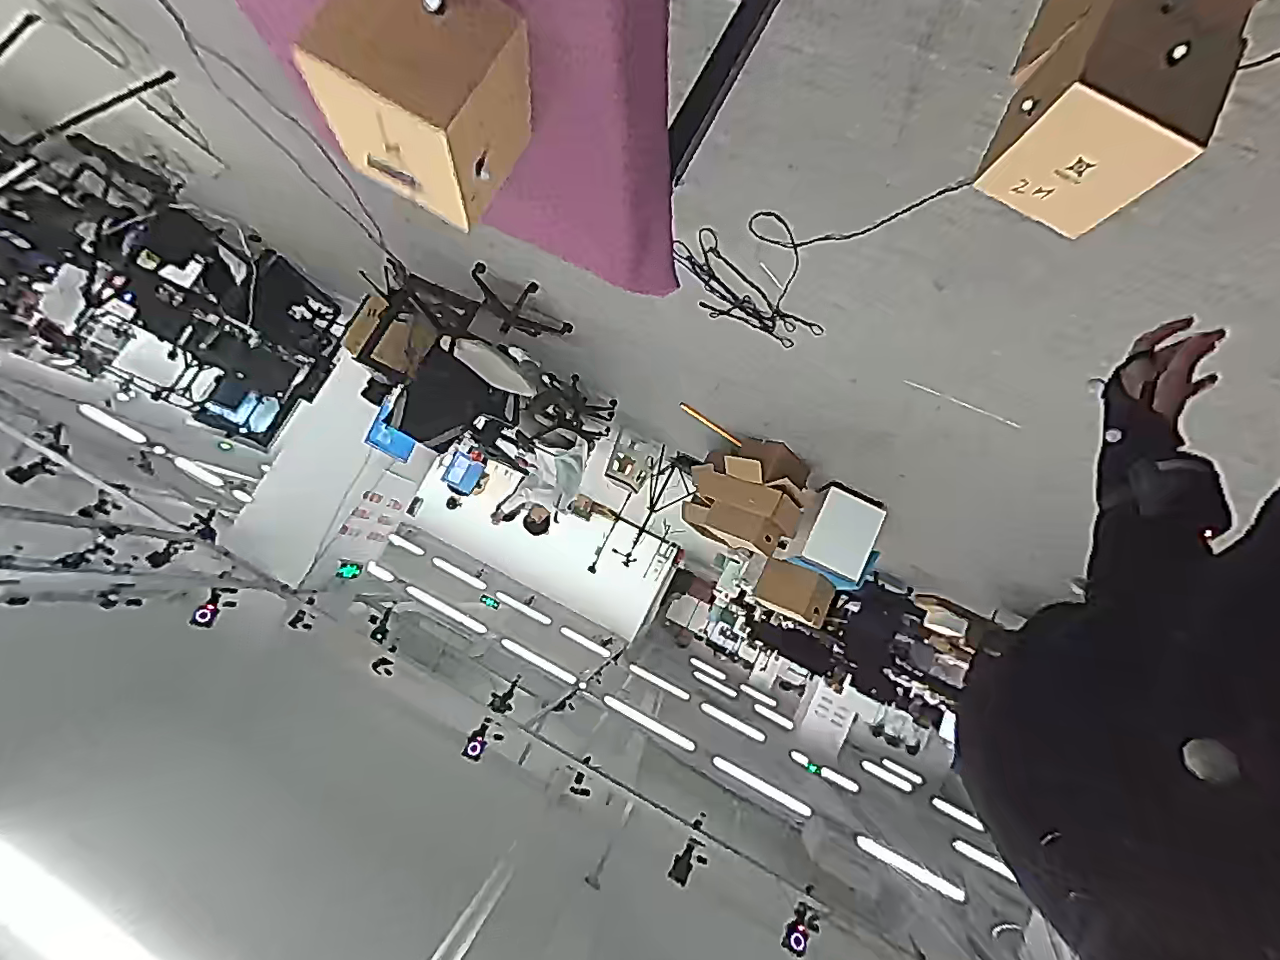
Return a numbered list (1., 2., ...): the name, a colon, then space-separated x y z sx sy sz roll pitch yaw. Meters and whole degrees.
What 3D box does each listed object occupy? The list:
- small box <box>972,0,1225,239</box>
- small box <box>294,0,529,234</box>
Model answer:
1. small box: 0.581 -0.460 0.693 0.168 0.176 0.179 28 171 0
2. small box: -0.238 -0.433 0.619 0.168 0.176 0.179 28 169 -5
